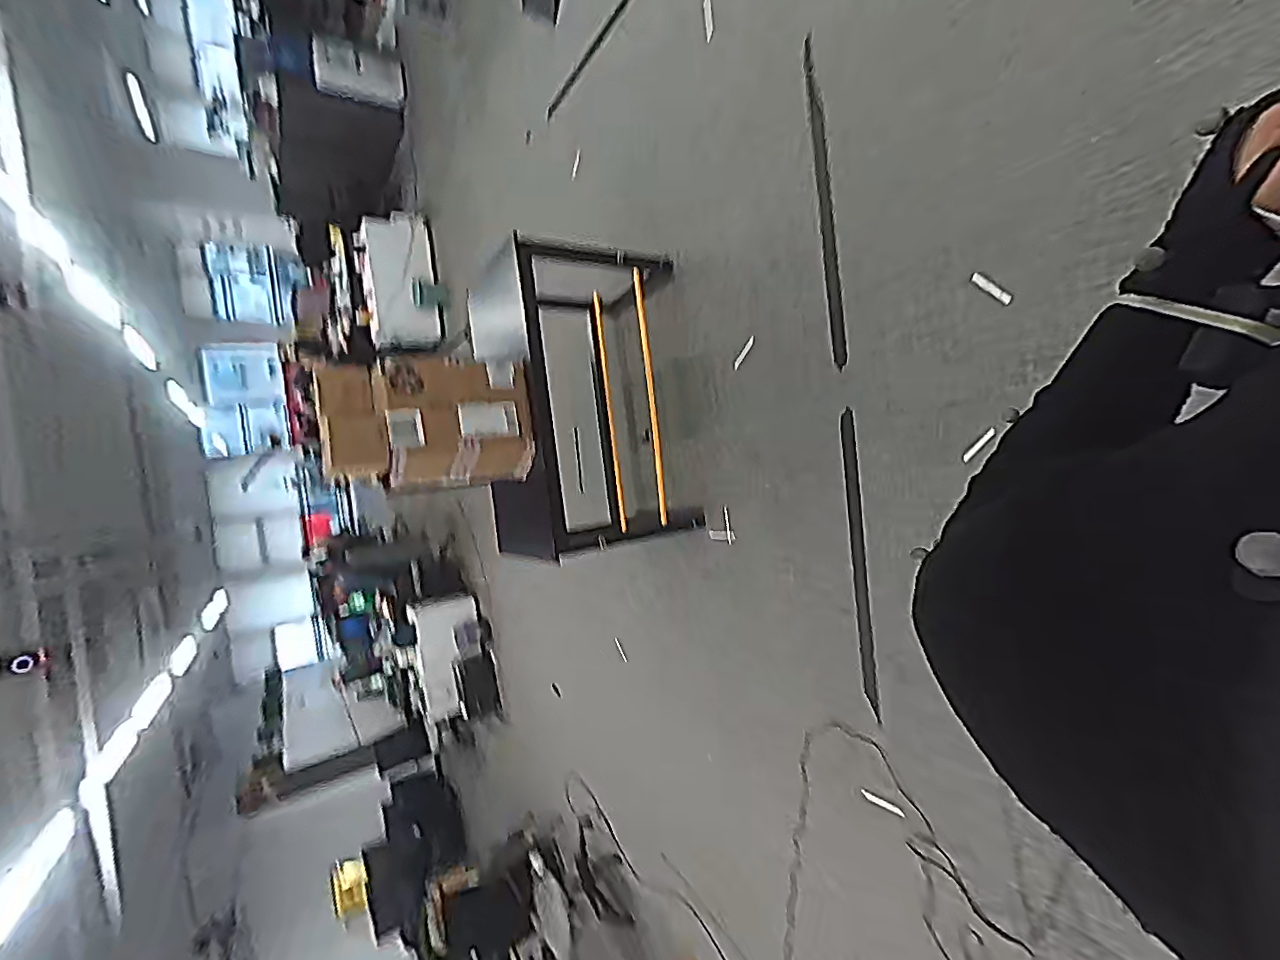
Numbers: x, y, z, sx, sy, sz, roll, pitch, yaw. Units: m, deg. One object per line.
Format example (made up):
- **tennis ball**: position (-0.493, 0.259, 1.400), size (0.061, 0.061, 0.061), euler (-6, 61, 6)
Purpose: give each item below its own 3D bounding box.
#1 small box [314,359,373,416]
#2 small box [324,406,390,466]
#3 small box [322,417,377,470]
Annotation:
- **small box**: position (-1.059, -0.329, 1.936), size (0.179, 0.176, 0.168), euler (-13, 83, 57)
- **small box**: position (-0.912, -0.139, 1.742), size (0.179, 0.176, 0.168), euler (-13, 84, 54)
- **small box**: position (-1.034, -0.131, 1.935), size (0.179, 0.176, 0.168), euler (-15, 83, 58)
